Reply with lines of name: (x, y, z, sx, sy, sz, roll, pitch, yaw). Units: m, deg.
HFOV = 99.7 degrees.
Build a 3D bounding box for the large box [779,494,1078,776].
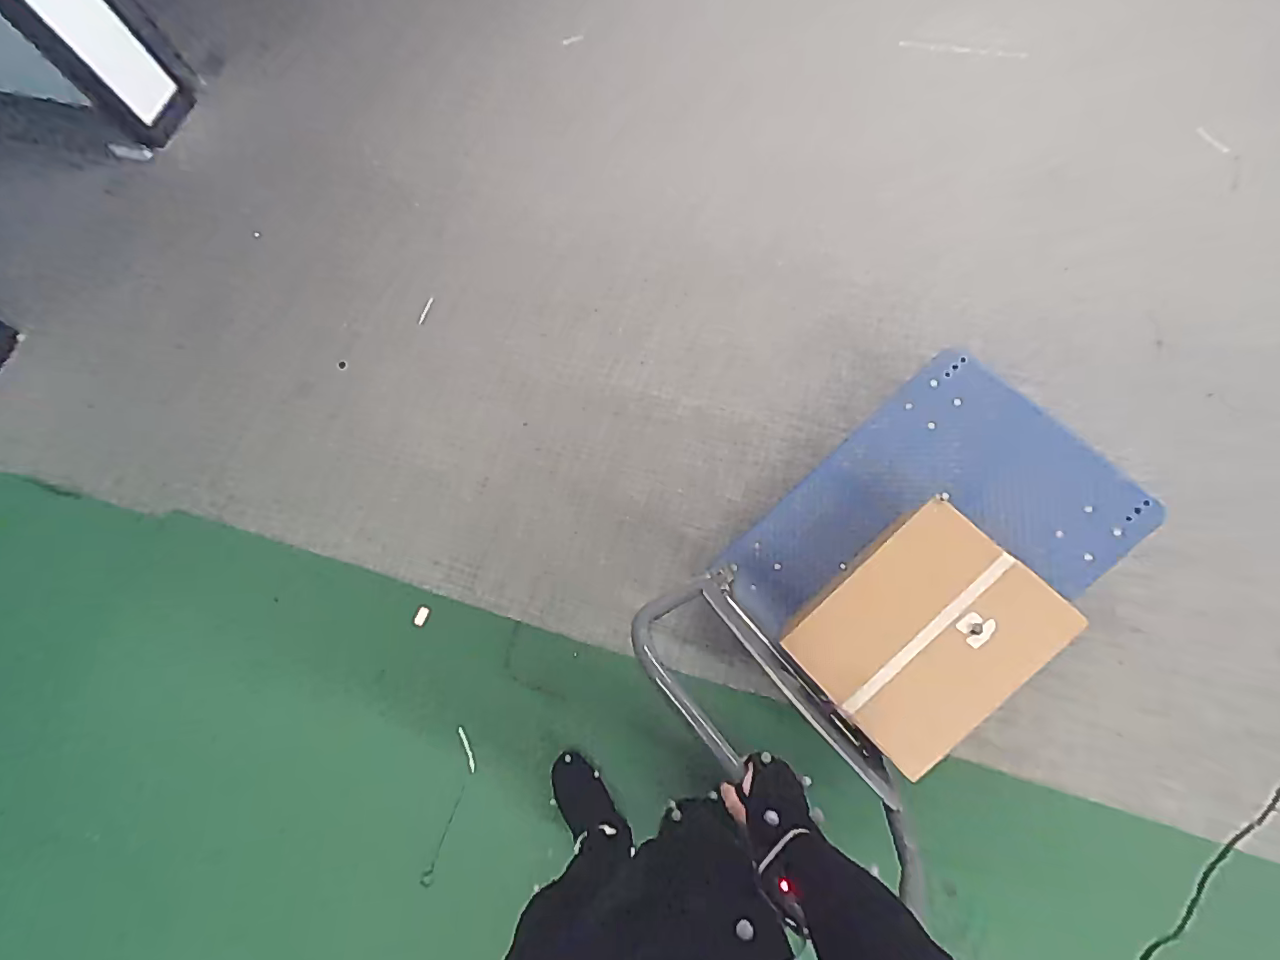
large box: (0.536, 0.296, 1.102, 0.408, 0.320, 0.320, -44, 73, 3)
